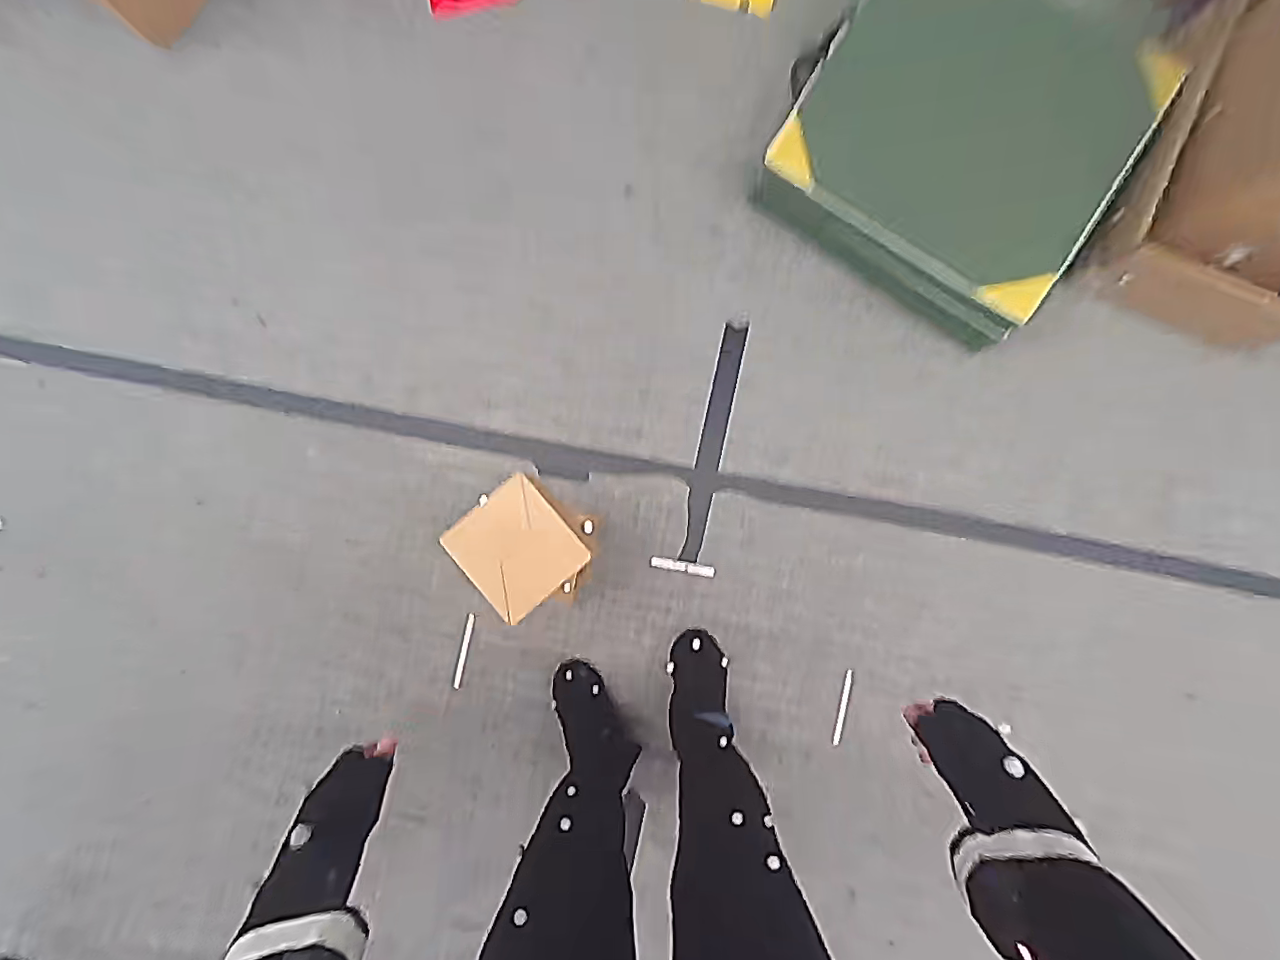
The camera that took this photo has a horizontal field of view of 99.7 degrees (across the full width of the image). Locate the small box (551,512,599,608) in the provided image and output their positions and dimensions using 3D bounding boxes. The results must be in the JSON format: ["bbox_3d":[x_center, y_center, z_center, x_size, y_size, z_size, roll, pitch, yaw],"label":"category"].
[{"bbox_3d":[-0.187,0.141,1.076,0.179,0.176,0.168,14,86,2],"label":"small box"}]

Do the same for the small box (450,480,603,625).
[{"bbox_3d":[-0.186,0.119,0.910,0.168,0.176,0.179,-41,86,-2],"label":"small box"}]
